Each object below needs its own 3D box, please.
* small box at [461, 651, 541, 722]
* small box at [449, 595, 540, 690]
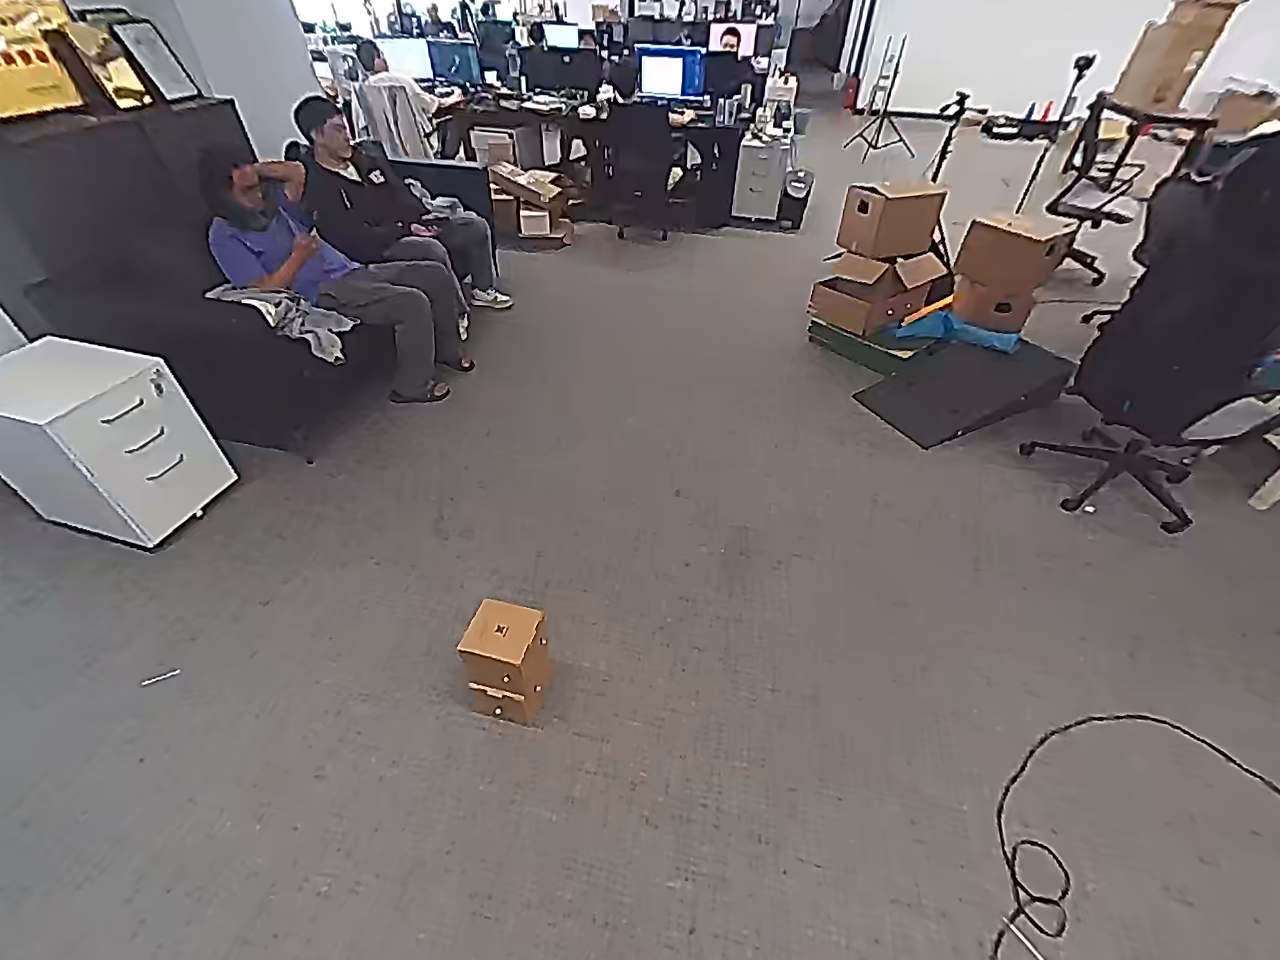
[{"bbox_3d":[-0.395,0.577,1.576,0.168,0.176,0.179,9,42,8],"label":"small box"},{"bbox_3d":[-0.381,0.441,1.457,0.179,0.176,0.168,10,42,9],"label":"small box"}]
